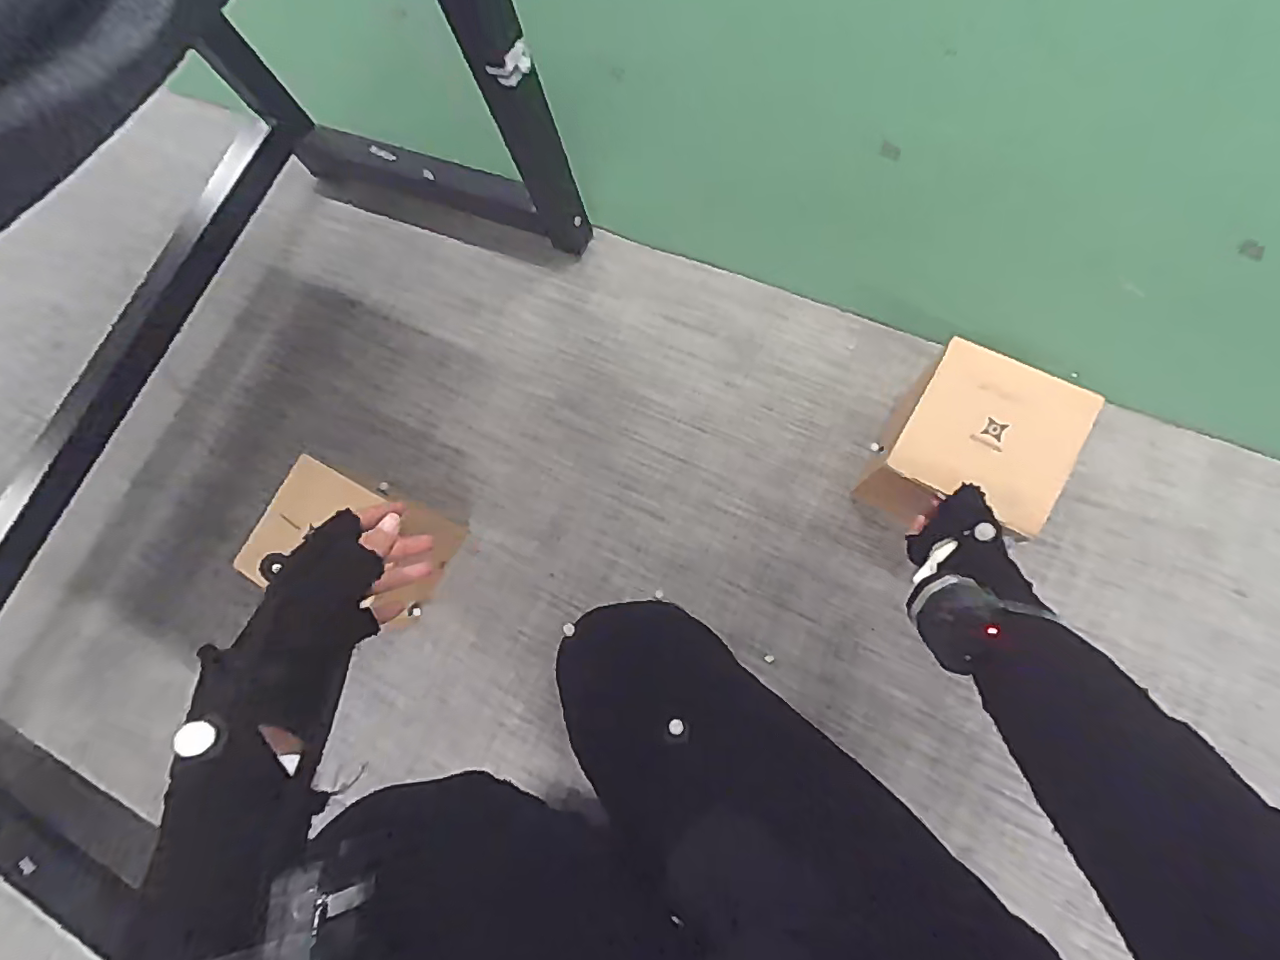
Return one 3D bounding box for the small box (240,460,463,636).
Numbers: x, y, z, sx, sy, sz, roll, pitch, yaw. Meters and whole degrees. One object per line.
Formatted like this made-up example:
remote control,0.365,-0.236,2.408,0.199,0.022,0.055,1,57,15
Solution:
small box,-0.381,0.096,0.747,0.179,0.176,0.168,26,82,15
